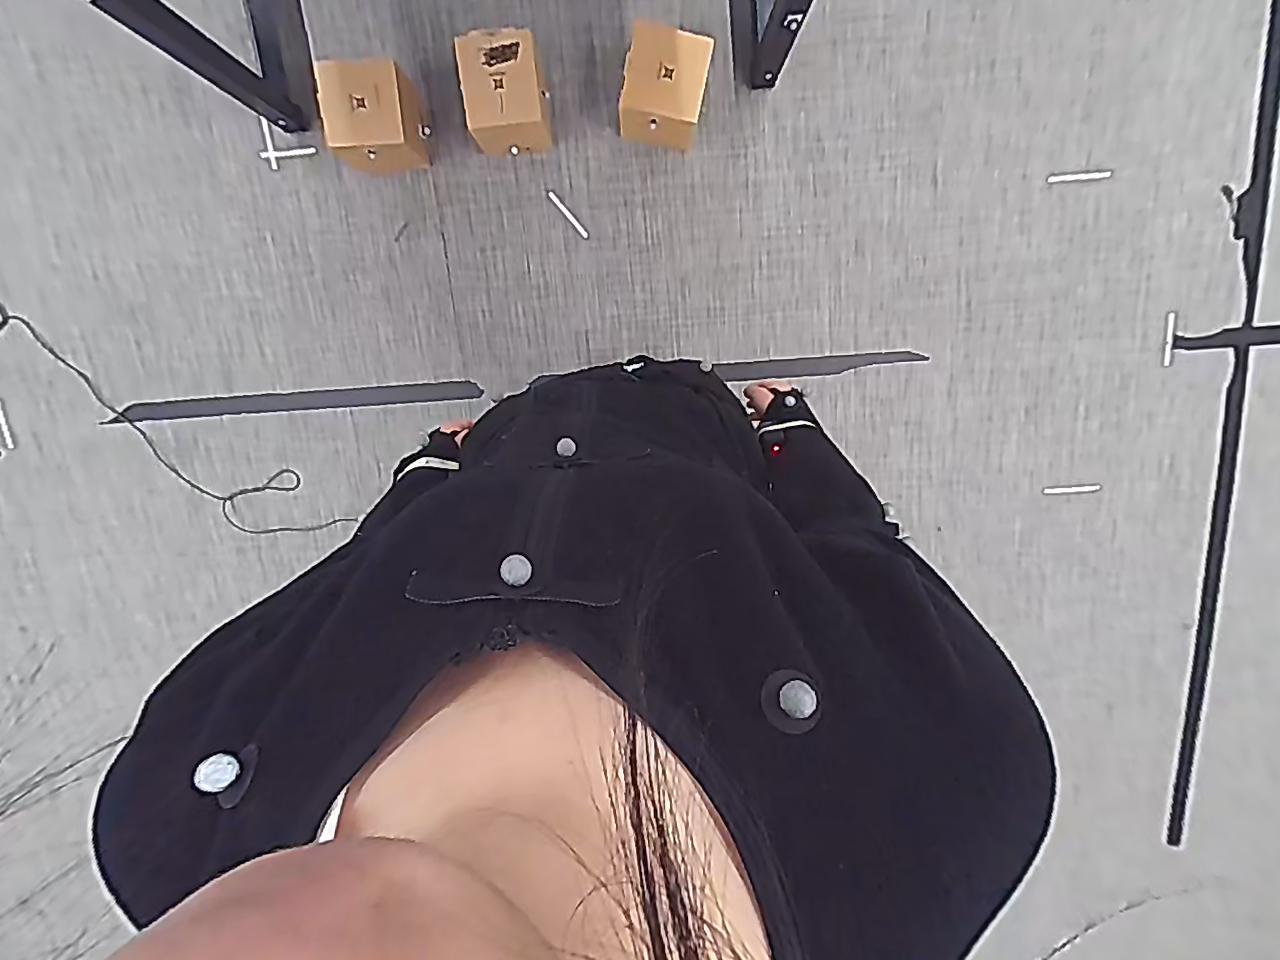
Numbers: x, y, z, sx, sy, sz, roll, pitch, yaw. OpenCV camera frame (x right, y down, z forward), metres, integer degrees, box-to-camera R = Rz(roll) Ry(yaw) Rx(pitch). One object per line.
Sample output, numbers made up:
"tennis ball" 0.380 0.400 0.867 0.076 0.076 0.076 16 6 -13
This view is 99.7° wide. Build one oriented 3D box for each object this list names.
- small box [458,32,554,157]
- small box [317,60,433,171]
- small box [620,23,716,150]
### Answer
"small box" -0.296 -0.867 1.230 0.168 0.176 0.179 -5 103 1
"small box" -0.599 -0.826 1.241 0.179 0.176 0.168 -2 103 0
"small box" 0.060 -0.879 1.228 0.179 0.176 0.168 12 102 -1
